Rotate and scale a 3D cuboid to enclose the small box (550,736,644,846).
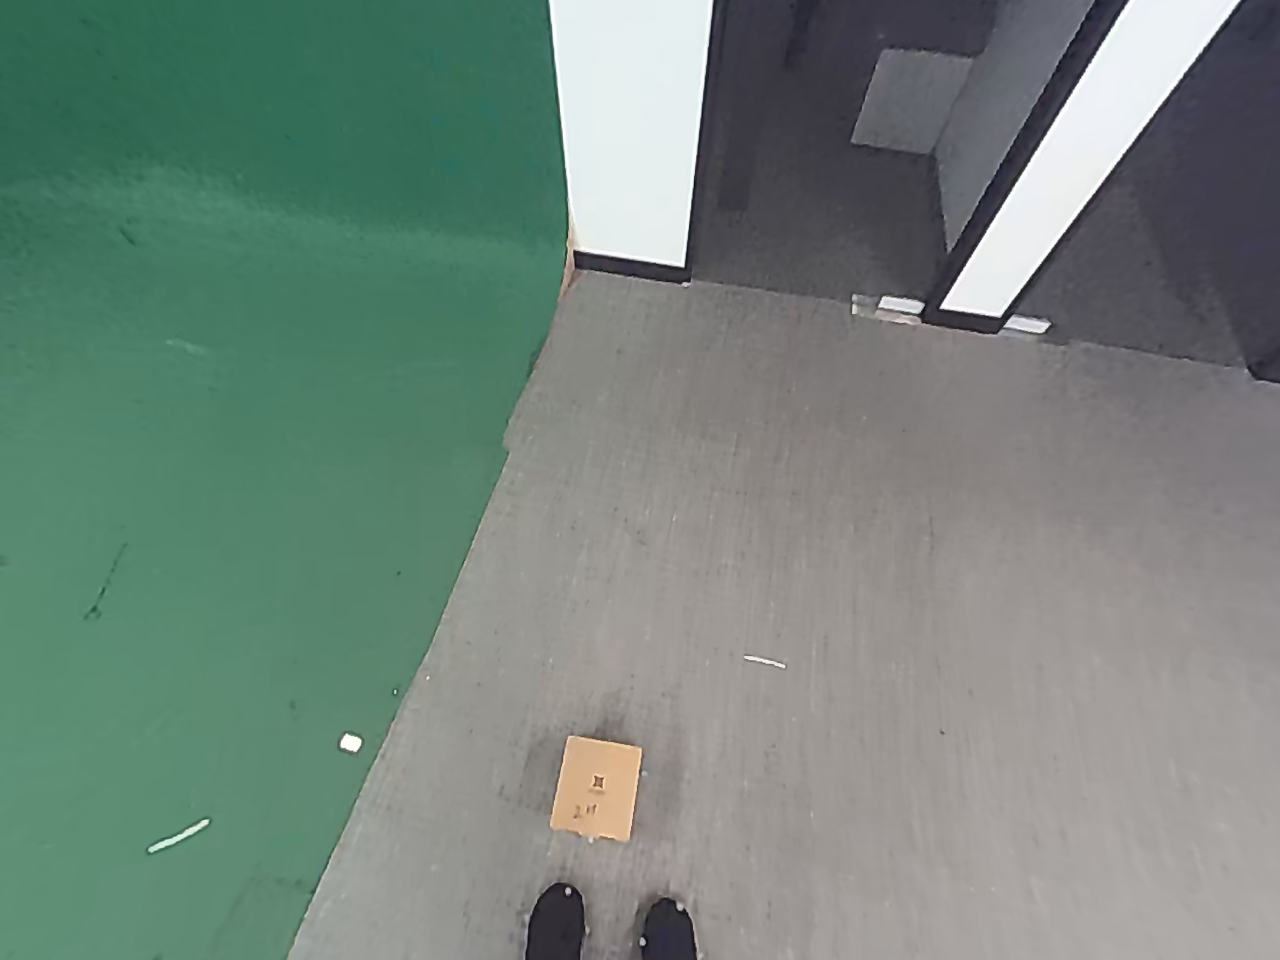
[{"bbox_3d":[-0.088,0.678,1.178,0.168,0.176,0.179,8,58,4],"label":"small box"}]
